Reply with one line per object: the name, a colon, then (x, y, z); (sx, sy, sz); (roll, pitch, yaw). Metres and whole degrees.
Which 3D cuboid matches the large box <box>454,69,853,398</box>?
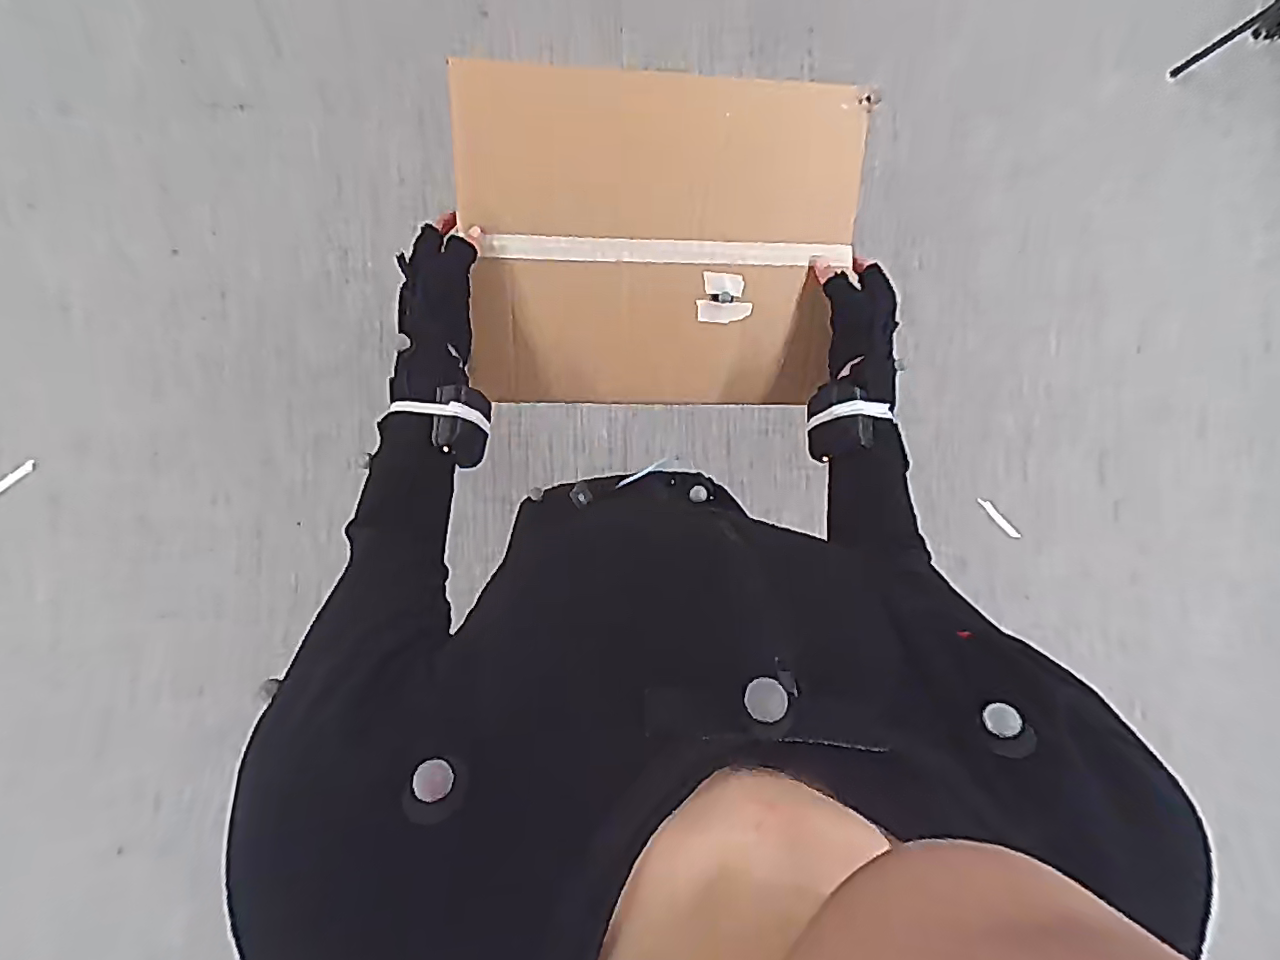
large box: (0.002, -0.281, 0.710); (0.408, 0.320, 0.320); (0, 106, -6)
